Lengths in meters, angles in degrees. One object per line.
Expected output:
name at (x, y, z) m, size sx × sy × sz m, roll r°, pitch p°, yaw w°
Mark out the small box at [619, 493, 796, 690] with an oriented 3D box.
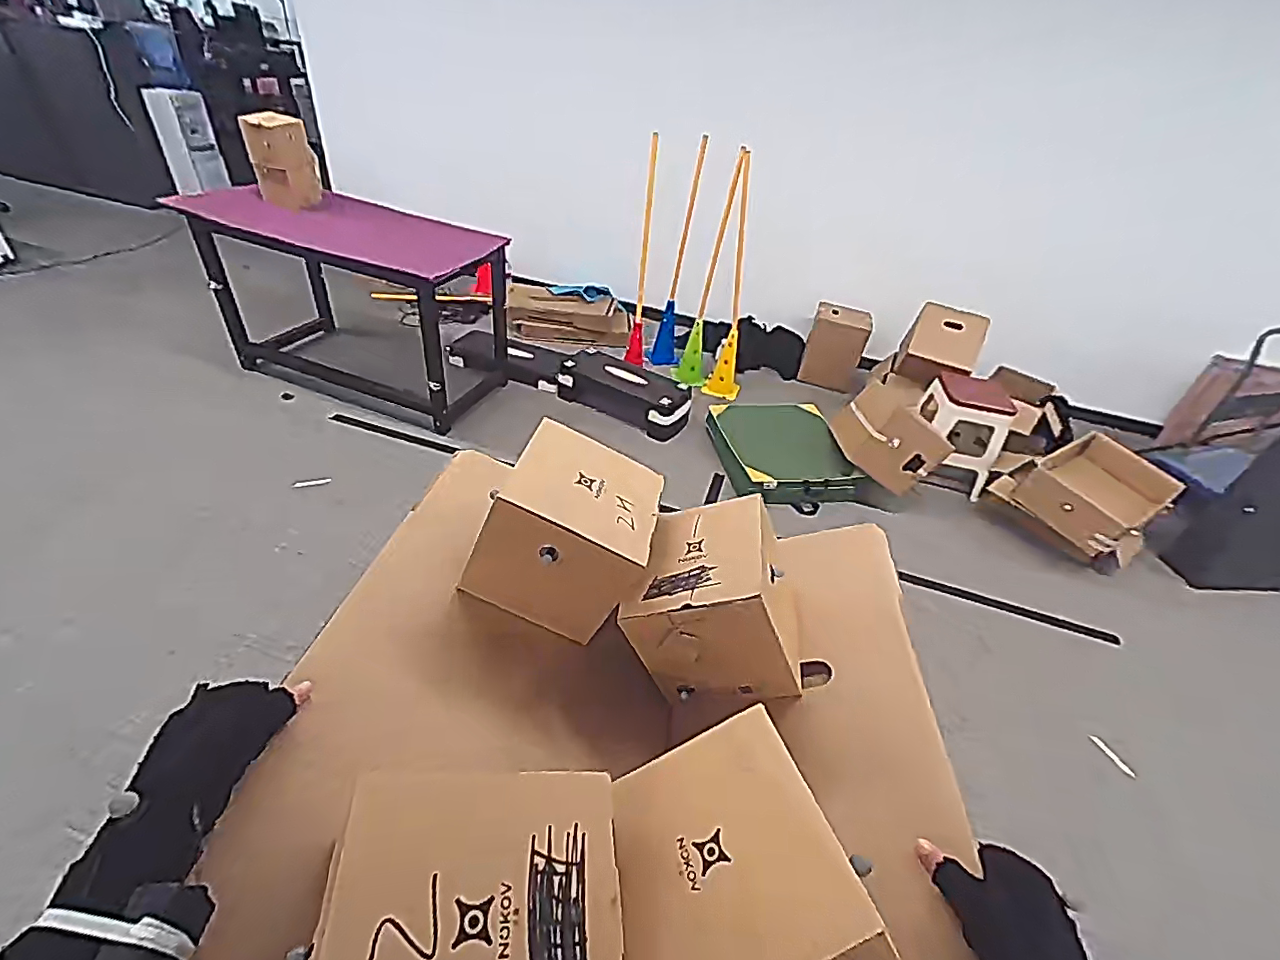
small box at (0.095, 0.147, 0.686) m, size 0.168 × 0.176 × 0.179 m, roll -14°, pitch 31°, yaw 21°
